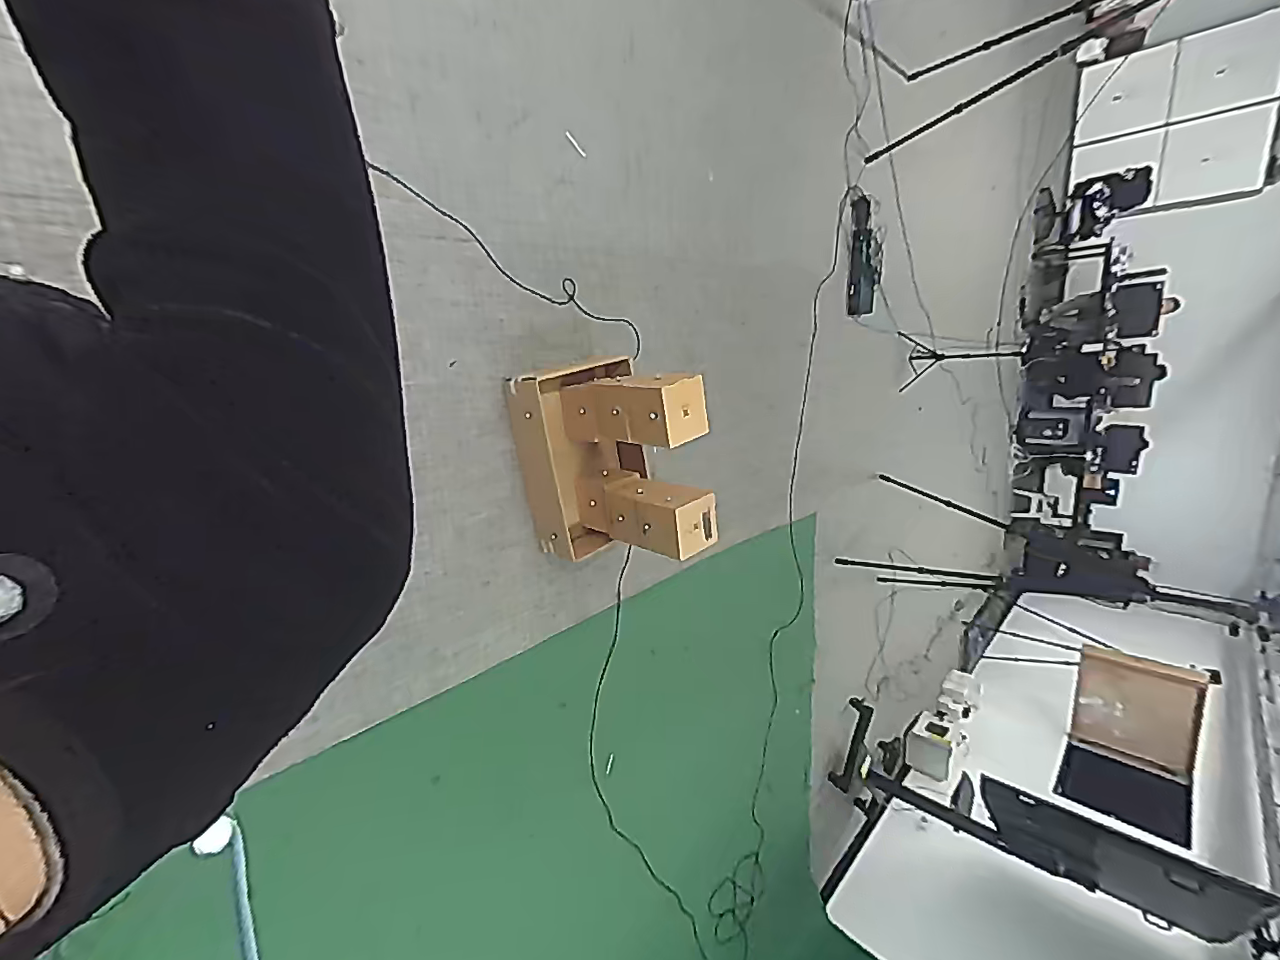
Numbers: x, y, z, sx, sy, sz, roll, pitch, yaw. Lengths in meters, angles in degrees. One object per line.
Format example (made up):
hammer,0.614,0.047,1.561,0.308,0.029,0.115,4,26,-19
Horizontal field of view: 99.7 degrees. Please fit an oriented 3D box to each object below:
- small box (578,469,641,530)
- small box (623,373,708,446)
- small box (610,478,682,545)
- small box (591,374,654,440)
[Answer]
small box,-0.102,0.064,1.904,0.168,0.176,0.179,-21,111,-40
small box,0.074,-0.211,1.571,0.168,0.176,0.179,-26,113,-37
small box,0.013,0.098,1.790,0.179,0.176,0.168,-21,112,-41
small box,-0.037,-0.232,1.687,0.168,0.176,0.179,-20,112,-39
